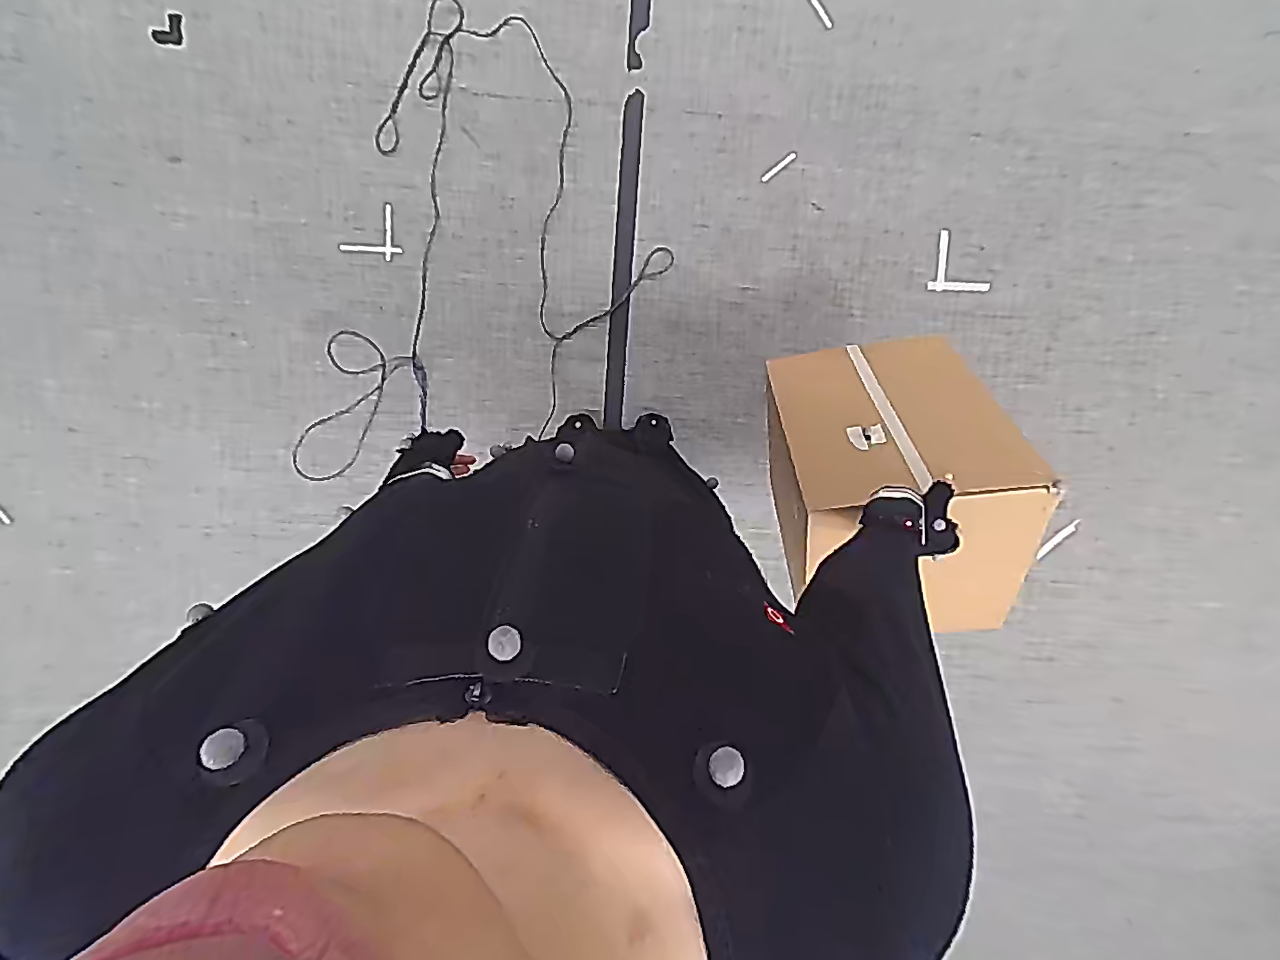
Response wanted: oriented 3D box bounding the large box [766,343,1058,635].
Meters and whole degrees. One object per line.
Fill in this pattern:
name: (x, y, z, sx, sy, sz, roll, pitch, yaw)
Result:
large box: (0.414, 0.010, 0.954, 0.320, 0.408, 0.320, -8, 132, 8)
